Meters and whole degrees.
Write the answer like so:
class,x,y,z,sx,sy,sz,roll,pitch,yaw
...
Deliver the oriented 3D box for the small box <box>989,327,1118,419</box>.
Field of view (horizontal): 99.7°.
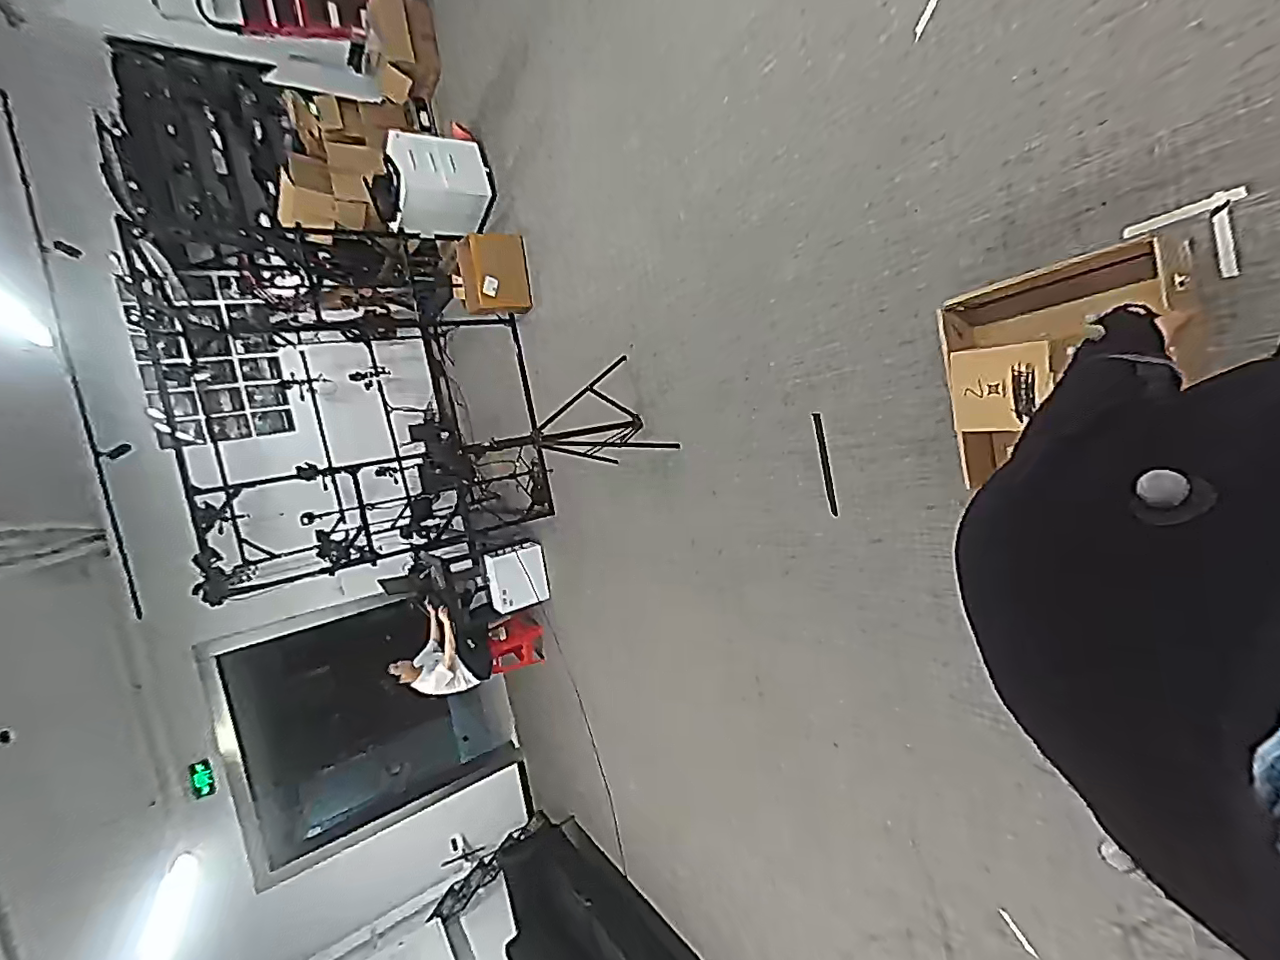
class,x,y,z,sx,sy,sz,roll,pitch,yaw
small box,0.896,-0.229,1.174,0.179,0.176,0.168,2,105,56
